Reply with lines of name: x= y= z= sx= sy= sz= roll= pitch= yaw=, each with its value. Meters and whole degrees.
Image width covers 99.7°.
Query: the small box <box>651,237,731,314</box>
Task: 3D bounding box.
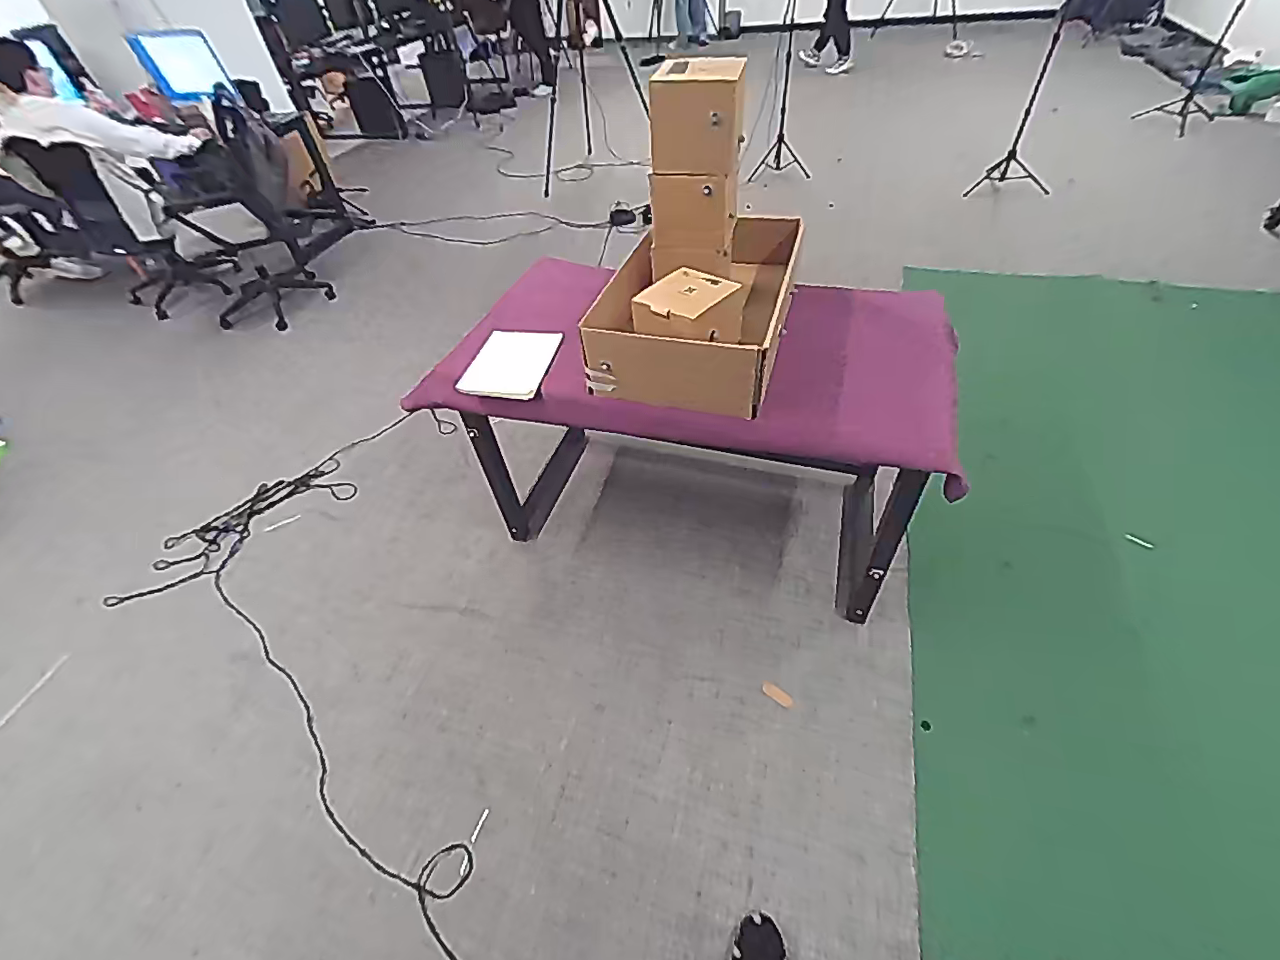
small box: x=0.138 y=-0.547 z=1.391 sx=0.168 sy=0.176 sz=0.179 roll=11 pitch=51 yaw=16

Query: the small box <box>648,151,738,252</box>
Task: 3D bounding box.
small box: x=0.128 y=-0.651 z=1.268 sx=0.179 sy=0.176 sz=0.168 roll=9 pitch=50 yaw=14
